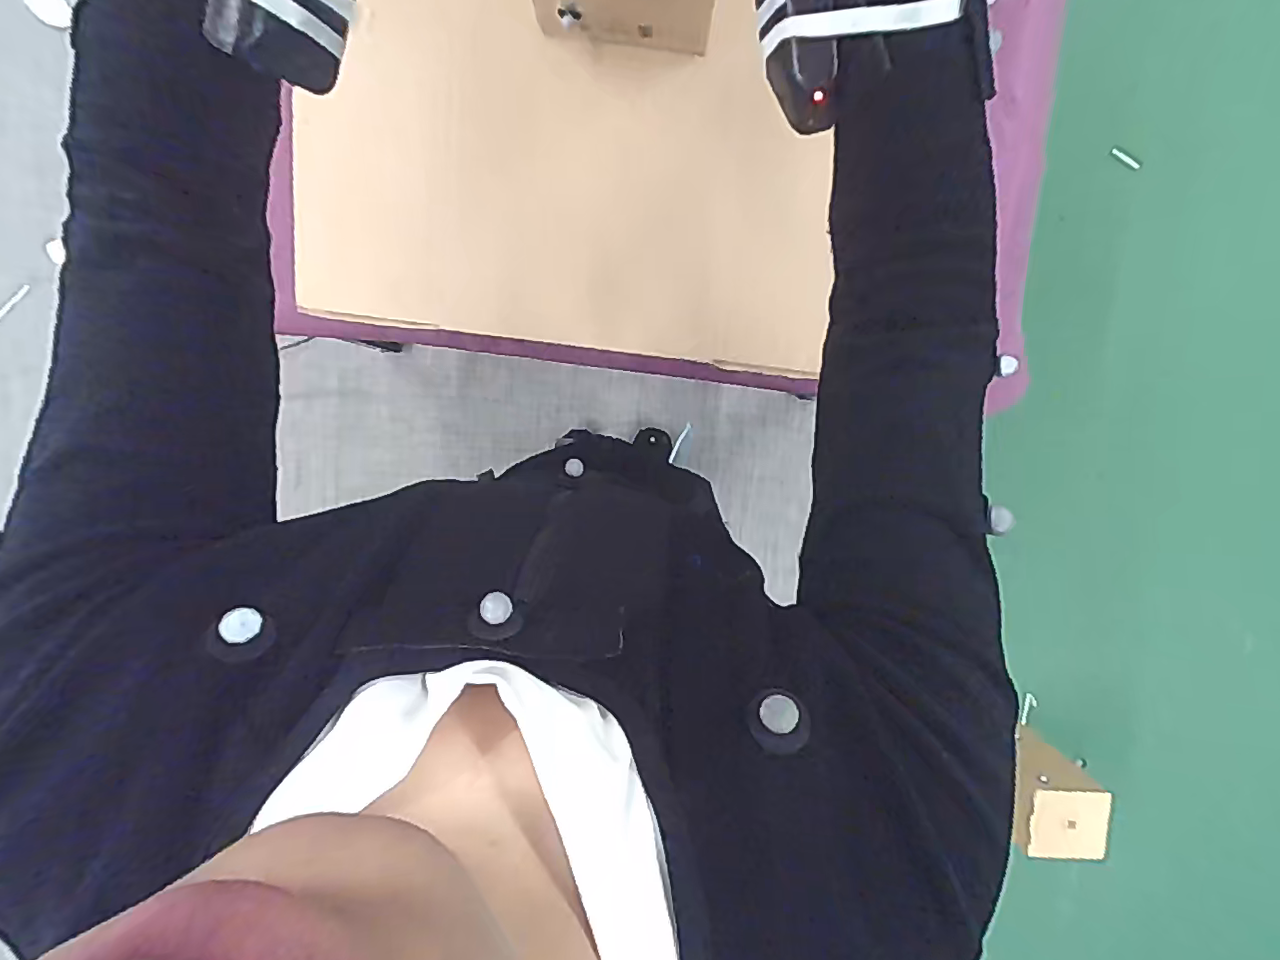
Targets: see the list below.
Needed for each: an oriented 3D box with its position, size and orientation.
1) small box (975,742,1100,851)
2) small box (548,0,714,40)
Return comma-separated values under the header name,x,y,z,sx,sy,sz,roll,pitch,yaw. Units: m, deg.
name,x,y,z,sx,sy,sz,roll,pitch,yaw
small box,0.963,0.766,1.324,0.179,0.176,0.168,2,97,0
small box,-0.005,-0.512,0.440,0.168,0.176,0.179,7,93,-1
